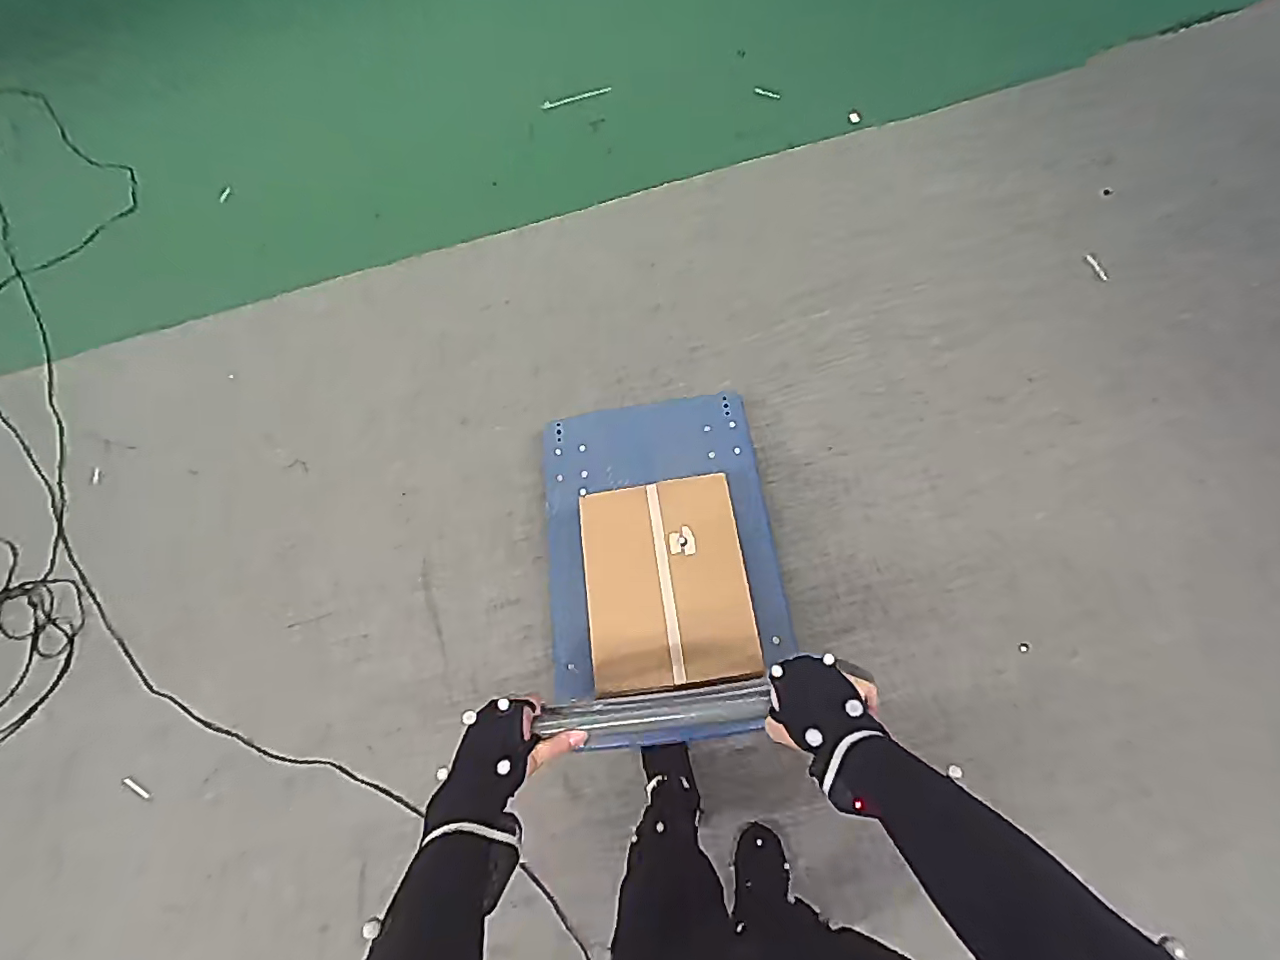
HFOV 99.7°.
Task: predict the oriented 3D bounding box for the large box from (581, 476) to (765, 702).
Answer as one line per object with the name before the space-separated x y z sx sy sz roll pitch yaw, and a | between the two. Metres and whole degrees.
large box | 0.069 0.253 1.193 0.320 0.320 0.408 -9 66 3
